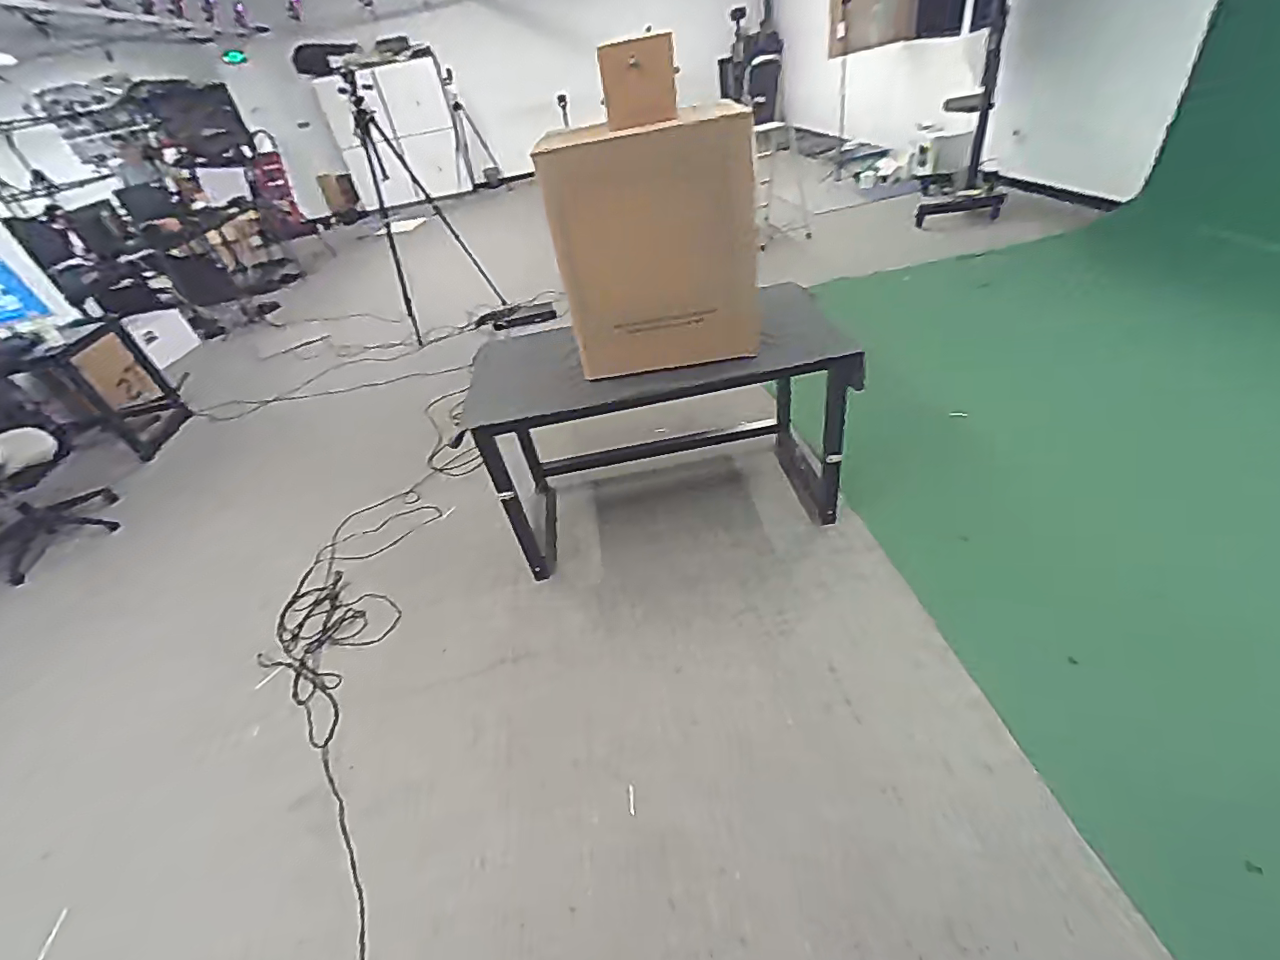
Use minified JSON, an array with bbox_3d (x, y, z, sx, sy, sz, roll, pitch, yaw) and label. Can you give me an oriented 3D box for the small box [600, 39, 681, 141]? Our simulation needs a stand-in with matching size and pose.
[{"bbox_3d":[0.005,-0.950,1.318,0.179,0.176,0.168,-8,40,4],"label":"small box"}]
